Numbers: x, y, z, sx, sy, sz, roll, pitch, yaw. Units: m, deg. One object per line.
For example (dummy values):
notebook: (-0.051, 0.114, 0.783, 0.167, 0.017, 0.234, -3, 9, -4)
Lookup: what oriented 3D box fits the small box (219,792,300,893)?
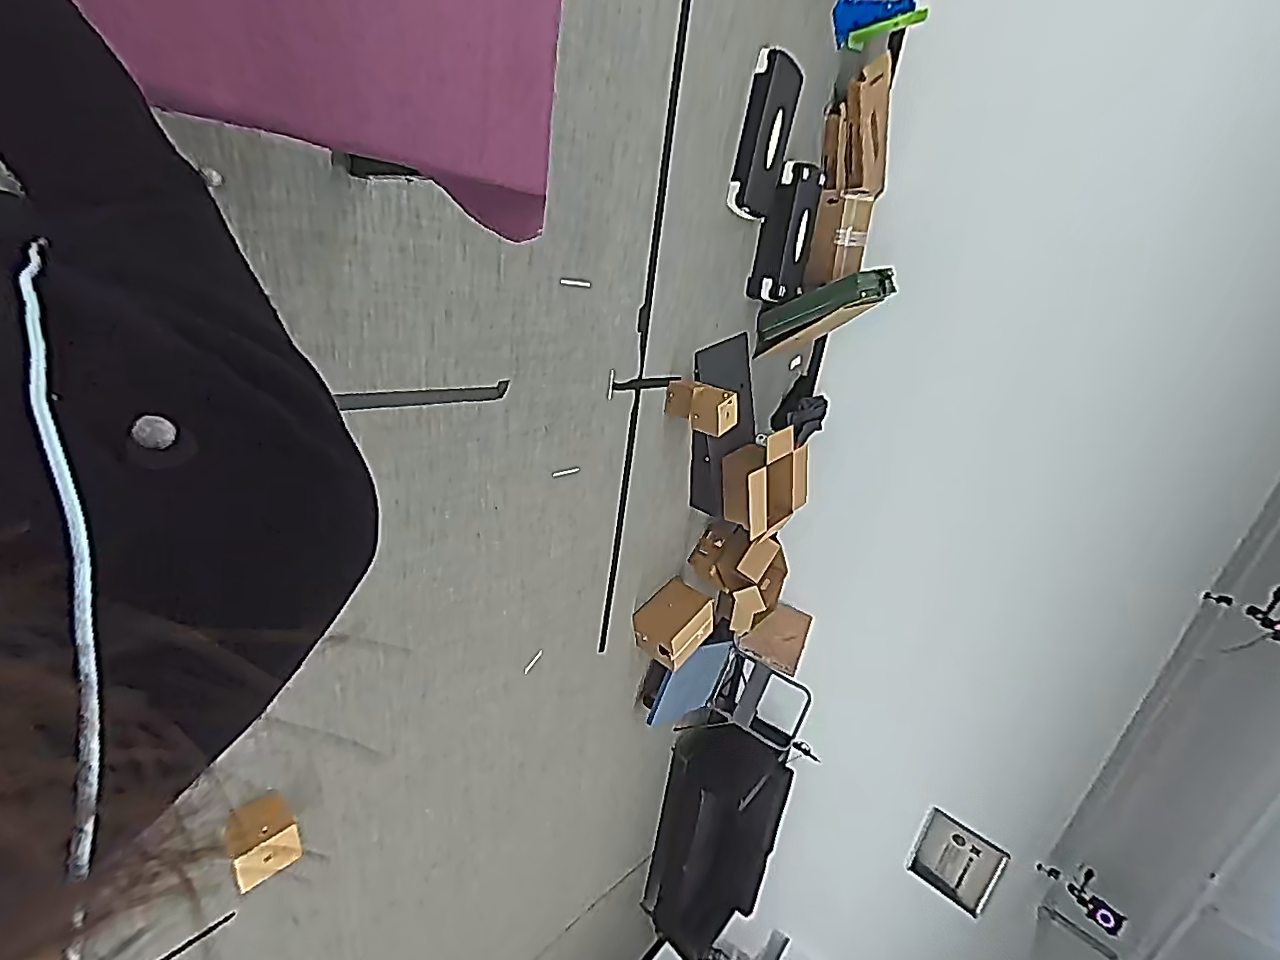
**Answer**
small box: (-1.264, 1.193, 1.792, 0.179, 0.176, 0.168, -19, 124, -48)
